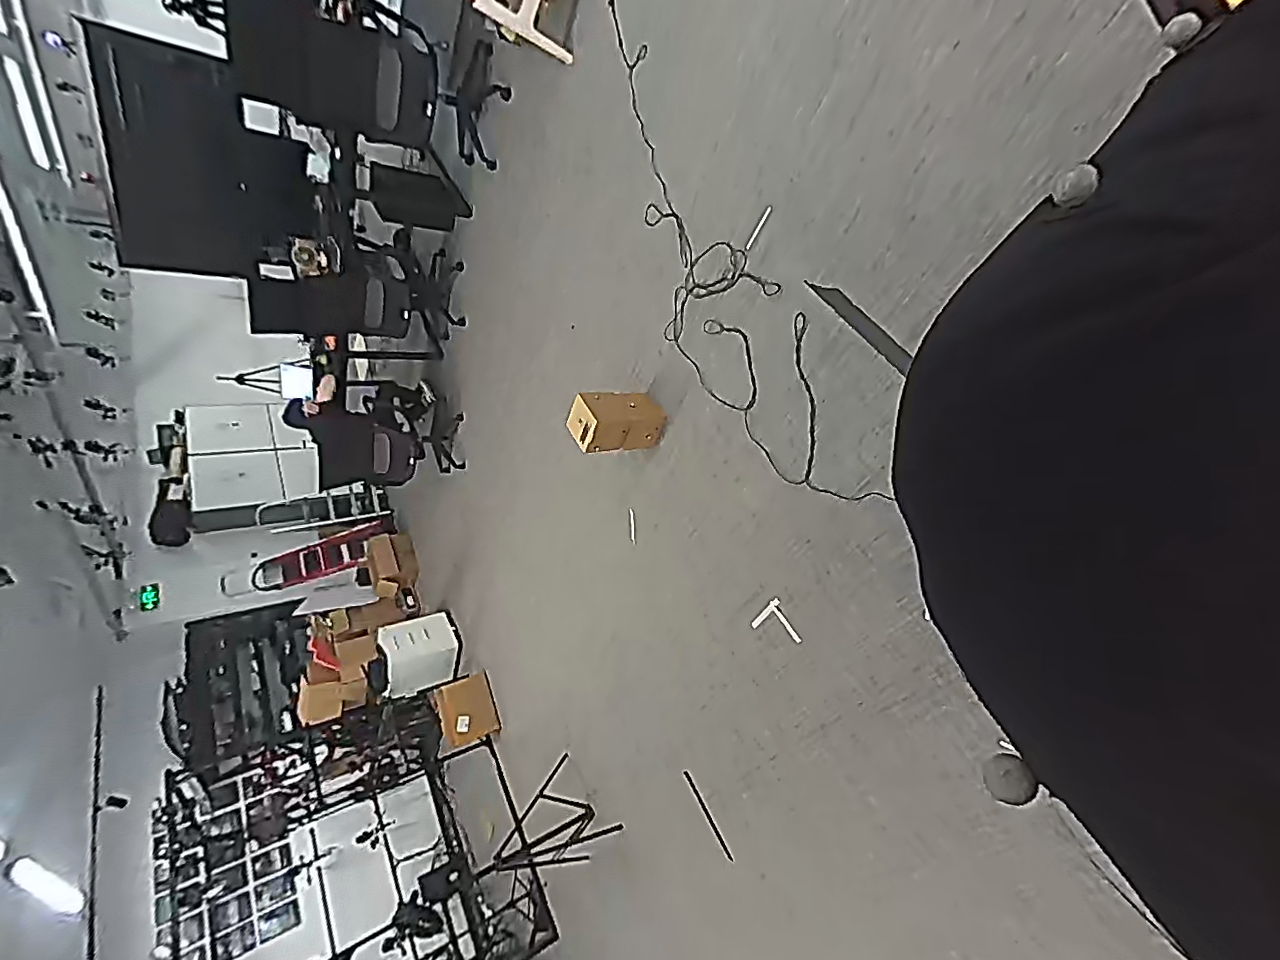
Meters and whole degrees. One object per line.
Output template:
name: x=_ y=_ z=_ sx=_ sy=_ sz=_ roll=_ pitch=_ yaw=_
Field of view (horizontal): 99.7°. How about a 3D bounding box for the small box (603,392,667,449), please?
small box: x=-0.021 y=-0.248 z=2.225 sx=0.179 sy=0.176 sz=0.168 roll=52 pitch=135 yaw=33
